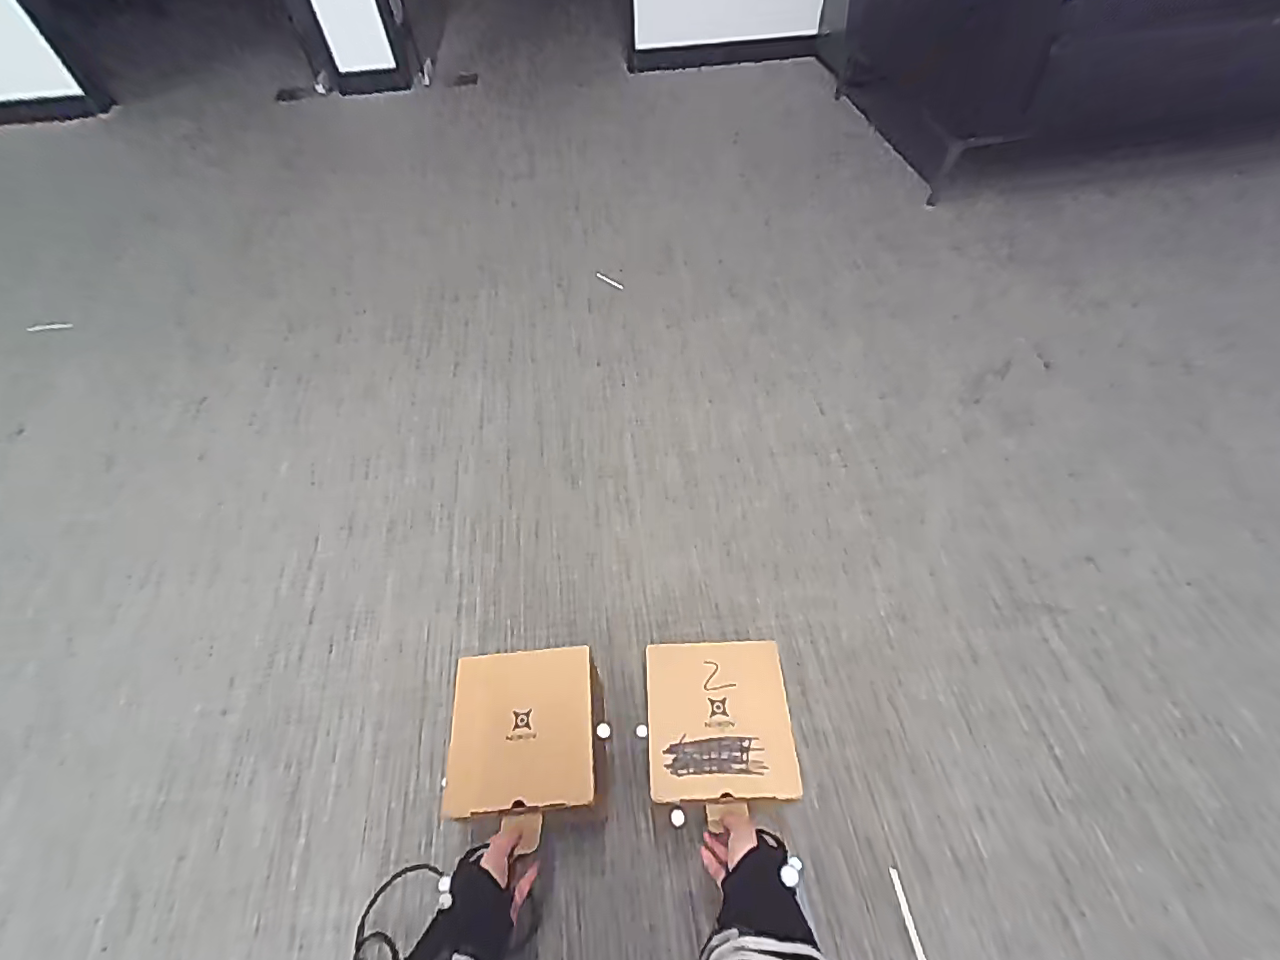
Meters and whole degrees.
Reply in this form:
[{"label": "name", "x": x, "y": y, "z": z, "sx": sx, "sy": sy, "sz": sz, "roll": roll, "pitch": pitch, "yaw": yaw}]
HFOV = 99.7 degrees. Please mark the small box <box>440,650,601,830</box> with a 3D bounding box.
[{"label": "small box", "x": -0.140, "y": 0.338, "z": 0.699, "sx": 0.168, "sy": 0.176, "sz": 0.179, "roll": -5, "pitch": 54, "yaw": -1}]
